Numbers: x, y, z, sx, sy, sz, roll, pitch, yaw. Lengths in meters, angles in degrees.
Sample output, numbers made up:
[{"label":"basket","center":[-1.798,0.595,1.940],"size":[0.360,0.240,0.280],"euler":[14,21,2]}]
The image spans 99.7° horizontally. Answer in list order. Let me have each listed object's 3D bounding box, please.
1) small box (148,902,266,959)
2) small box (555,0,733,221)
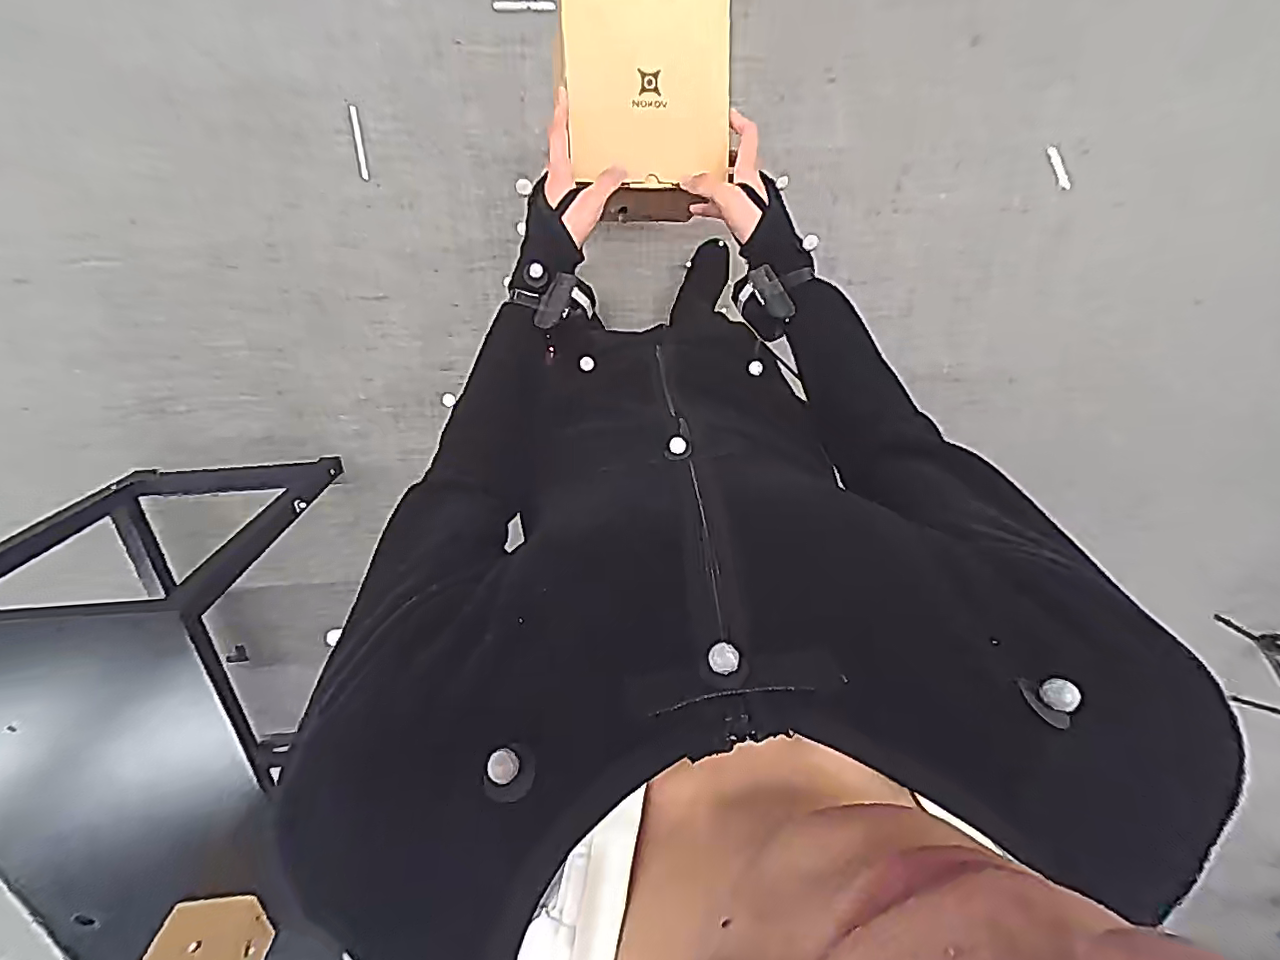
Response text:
[{"label":"small box","center":[-0.983,1.090,1.217],"size":[0.179,0.176,0.168],"euler":[-5,114,-4]},{"label":"small box","center":[-0.004,-0.400,0.596],"size":[0.168,0.176,0.179],"euler":[-5,105,-9]}]
